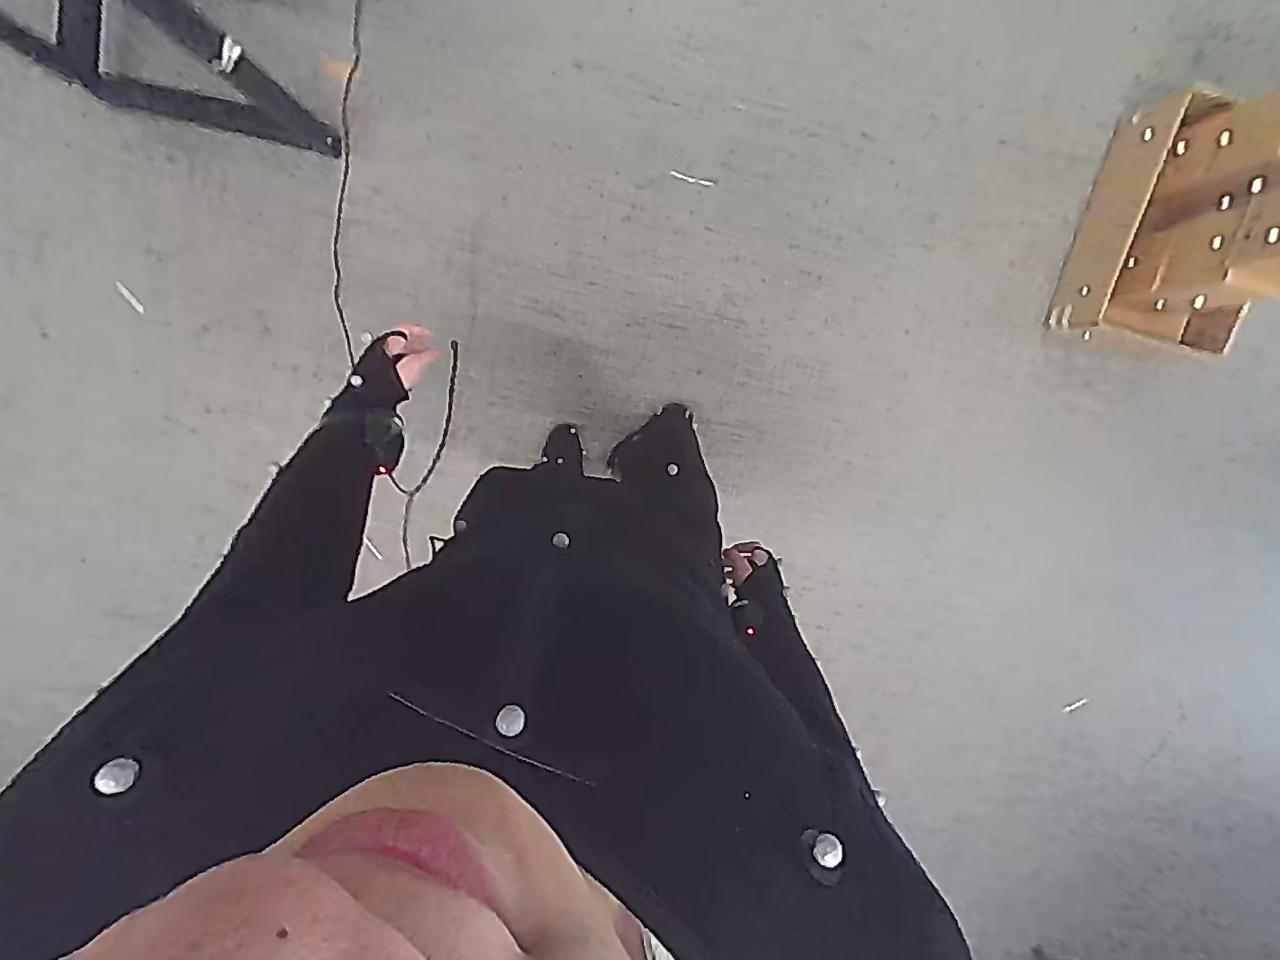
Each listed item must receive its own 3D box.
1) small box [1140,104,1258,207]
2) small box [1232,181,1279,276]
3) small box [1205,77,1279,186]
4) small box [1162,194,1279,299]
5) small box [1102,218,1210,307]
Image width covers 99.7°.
[{"bbox_3d":[1.501,-0.850,1.434,0.179,0.176,0.168,13,100,-5],"label":"small box"},{"bbox_3d":[1.445,-0.548,1.149,0.179,0.176,0.168,16,99,-6],"label":"small box"},{"bbox_3d":[1.506,-0.821,1.271,0.168,0.176,0.179,12,101,-7],"label":"small box"},{"bbox_3d":[1.439,-0.557,1.312,0.168,0.176,0.179,11,99,-5],"label":"small box"},{"bbox_3d":[1.430,-0.583,1.475,0.179,0.176,0.168,15,98,-6],"label":"small box"}]
